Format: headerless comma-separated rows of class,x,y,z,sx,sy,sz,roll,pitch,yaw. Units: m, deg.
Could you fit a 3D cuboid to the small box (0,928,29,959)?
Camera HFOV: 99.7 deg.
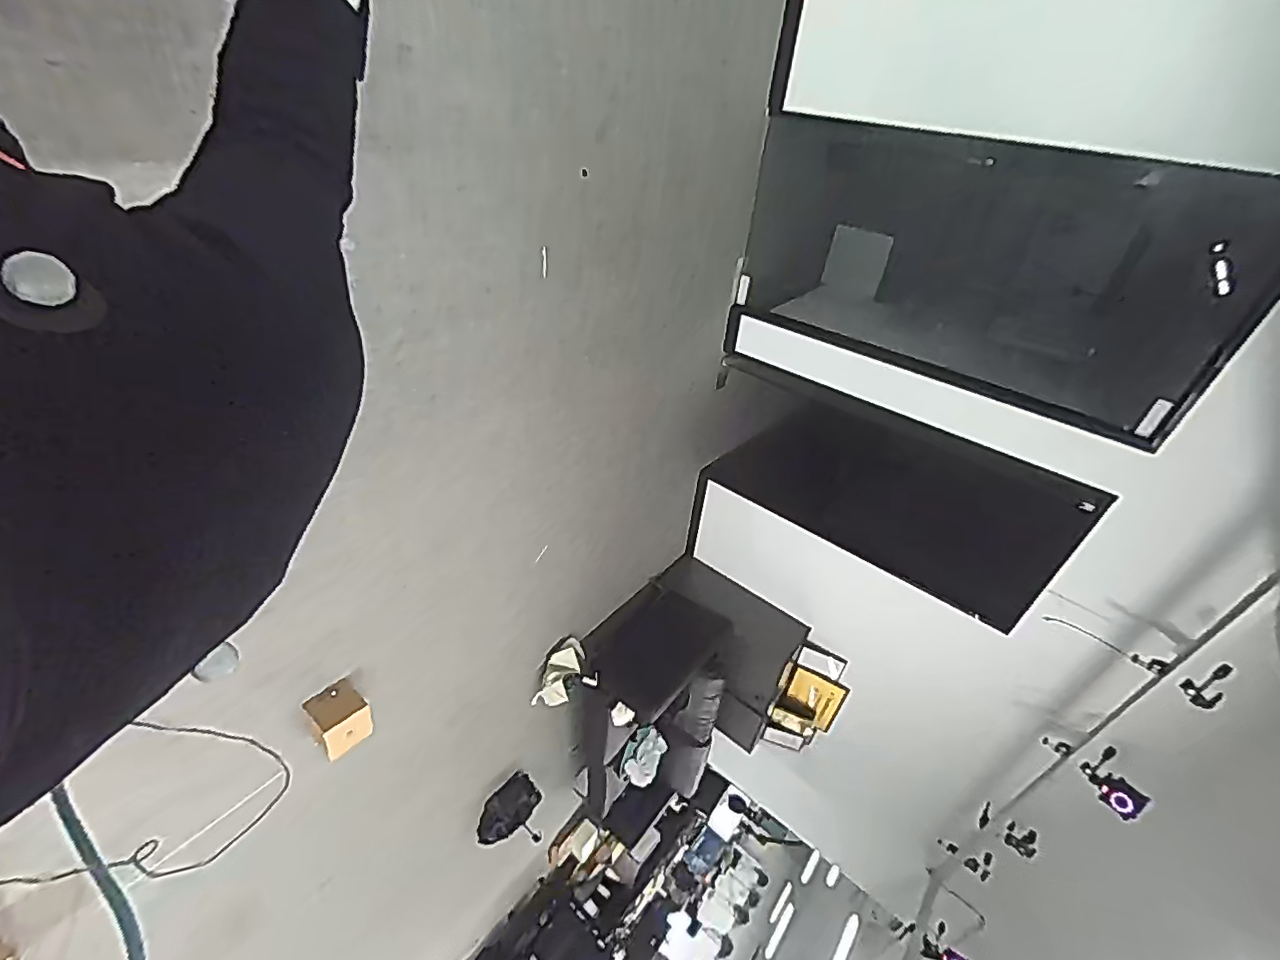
small box,-1.735,1.318,1.401,0.179,0.176,0.168,-32,141,-42

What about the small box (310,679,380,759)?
small box,-1.100,0.887,2.022,0.168,0.176,0.179,-29,139,-45
